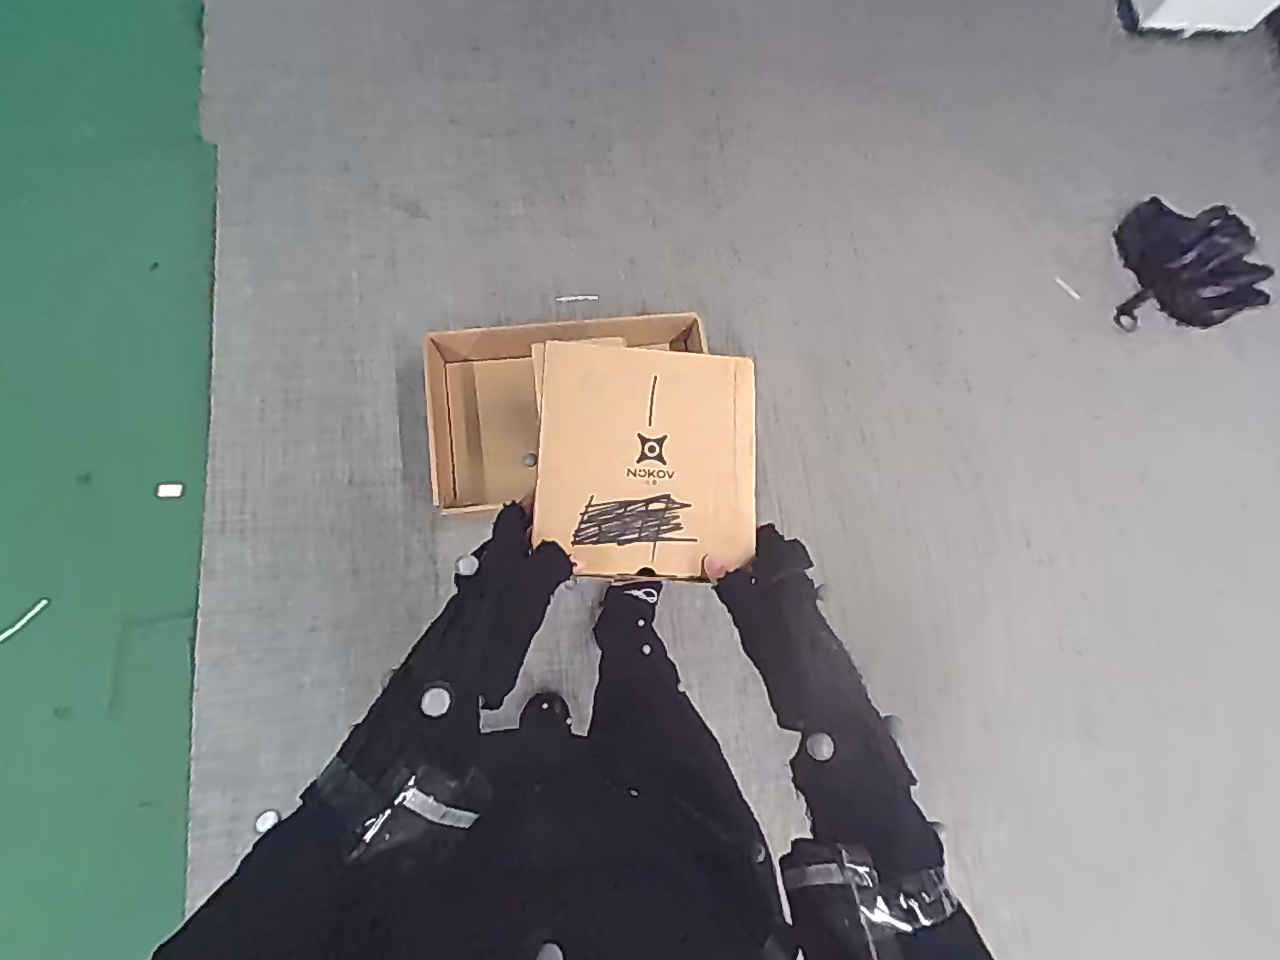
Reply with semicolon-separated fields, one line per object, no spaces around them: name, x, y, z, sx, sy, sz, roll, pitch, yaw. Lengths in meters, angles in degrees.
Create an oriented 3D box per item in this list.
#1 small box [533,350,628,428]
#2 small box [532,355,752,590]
small box;-0.105;-0.132;1.050;0.179;0.176;0.168;-10;78;-8
small box;-0.005;0.006;0.491;0.168;0.176;0.179;3;80;-8
